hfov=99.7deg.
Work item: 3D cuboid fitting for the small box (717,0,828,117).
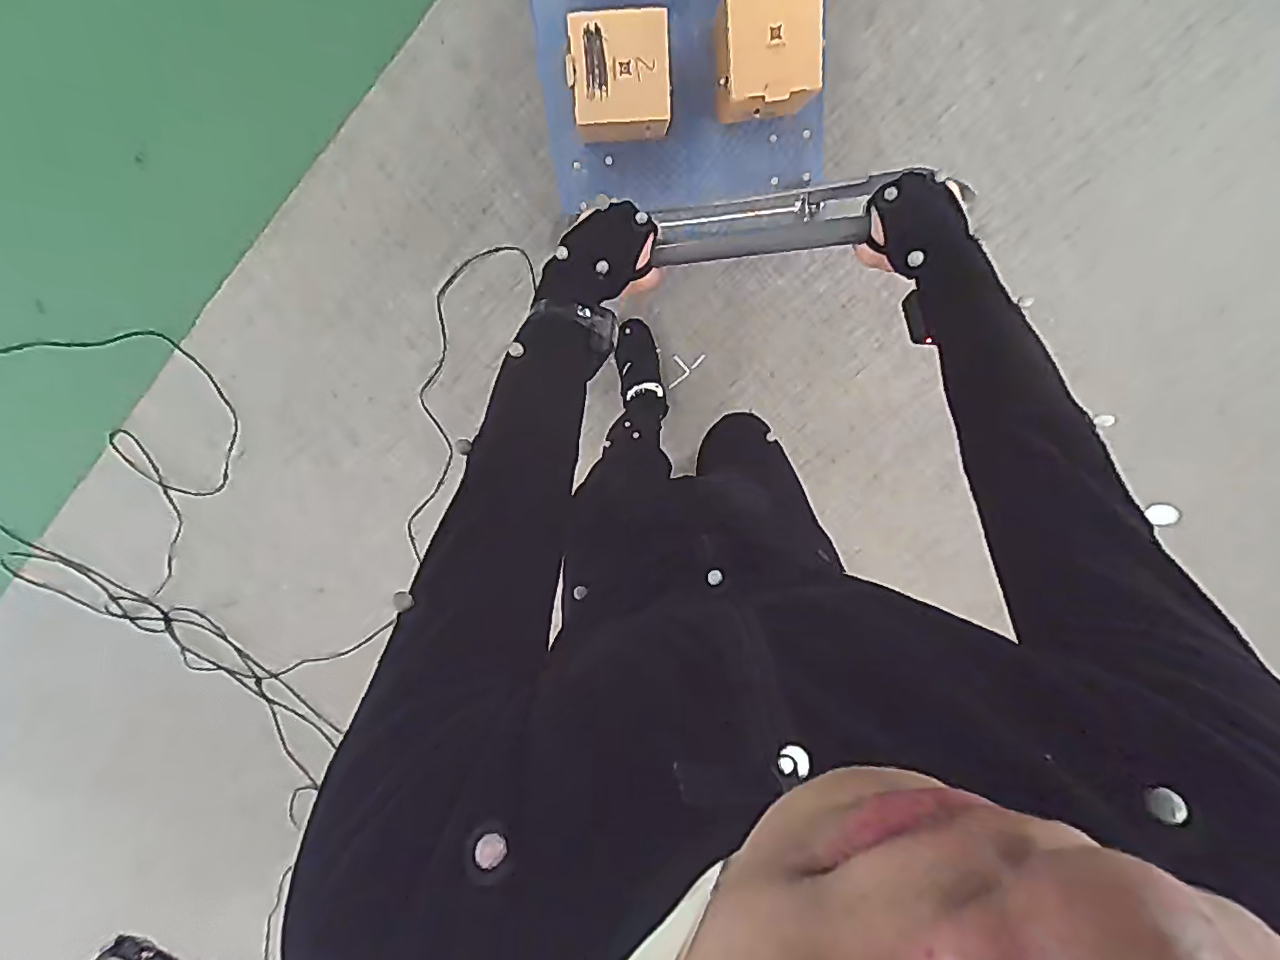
[{"bbox_3d":[0.241,-0.808,1.010,0.168,0.176,0.179,-7,113,2],"label":"small box"}]
